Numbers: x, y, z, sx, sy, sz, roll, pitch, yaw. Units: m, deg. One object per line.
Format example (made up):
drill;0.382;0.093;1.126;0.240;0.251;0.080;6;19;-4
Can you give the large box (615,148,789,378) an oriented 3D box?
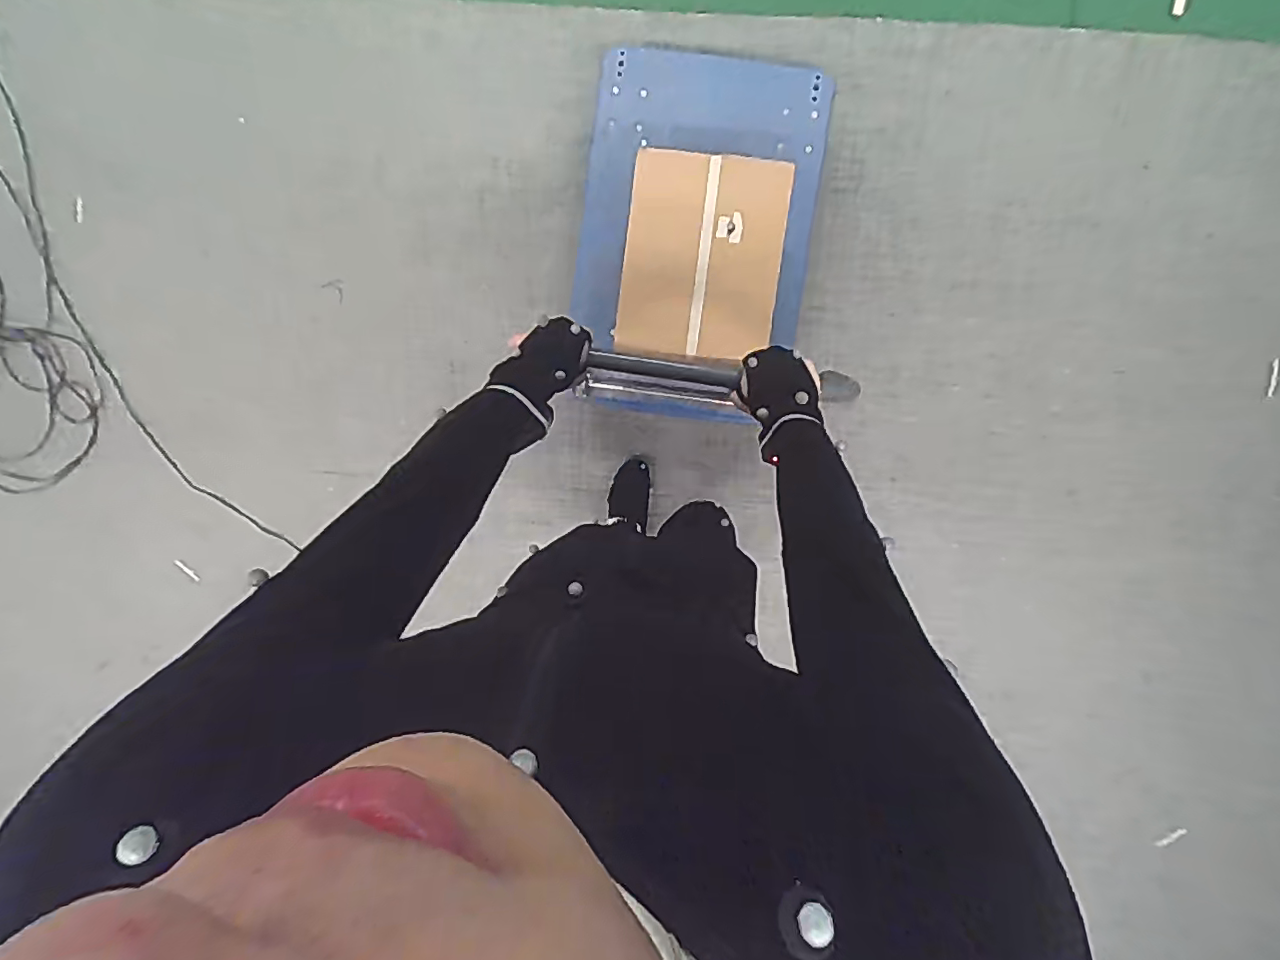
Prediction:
large box;0.130;-0.461;1.238;0.320;0.320;0.408;8;95;1
